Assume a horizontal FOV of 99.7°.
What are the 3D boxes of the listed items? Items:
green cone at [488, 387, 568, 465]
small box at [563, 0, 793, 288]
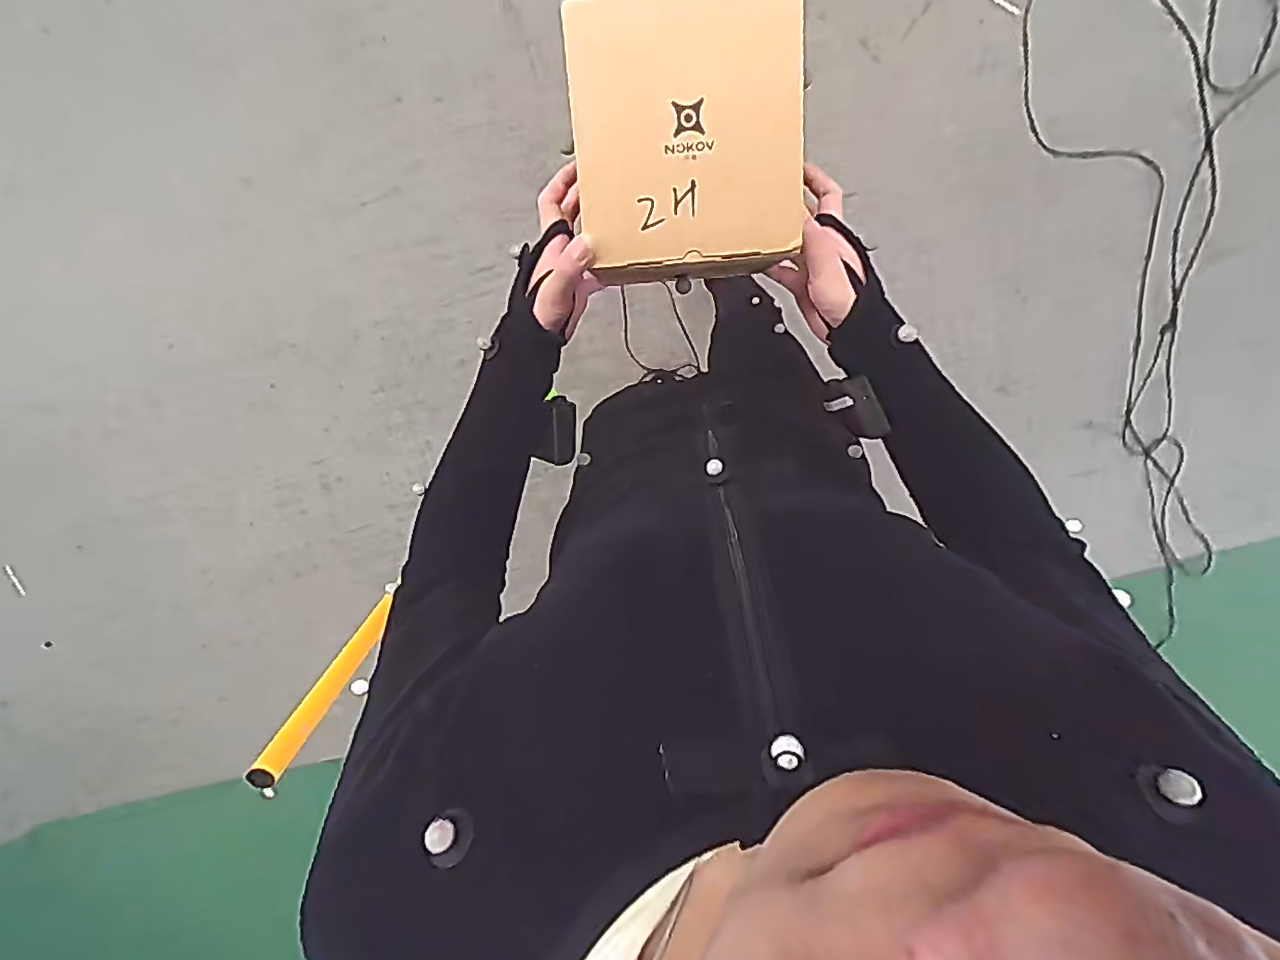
[{"bbox_3d":[-0.320,-0.110,1.416,0.202,0.368,0.200,-14,105,1],"label":"green cone"},{"bbox_3d":[0.031,-0.272,0.476,0.168,0.176,0.179,-4,106,2],"label":"small box"}]
